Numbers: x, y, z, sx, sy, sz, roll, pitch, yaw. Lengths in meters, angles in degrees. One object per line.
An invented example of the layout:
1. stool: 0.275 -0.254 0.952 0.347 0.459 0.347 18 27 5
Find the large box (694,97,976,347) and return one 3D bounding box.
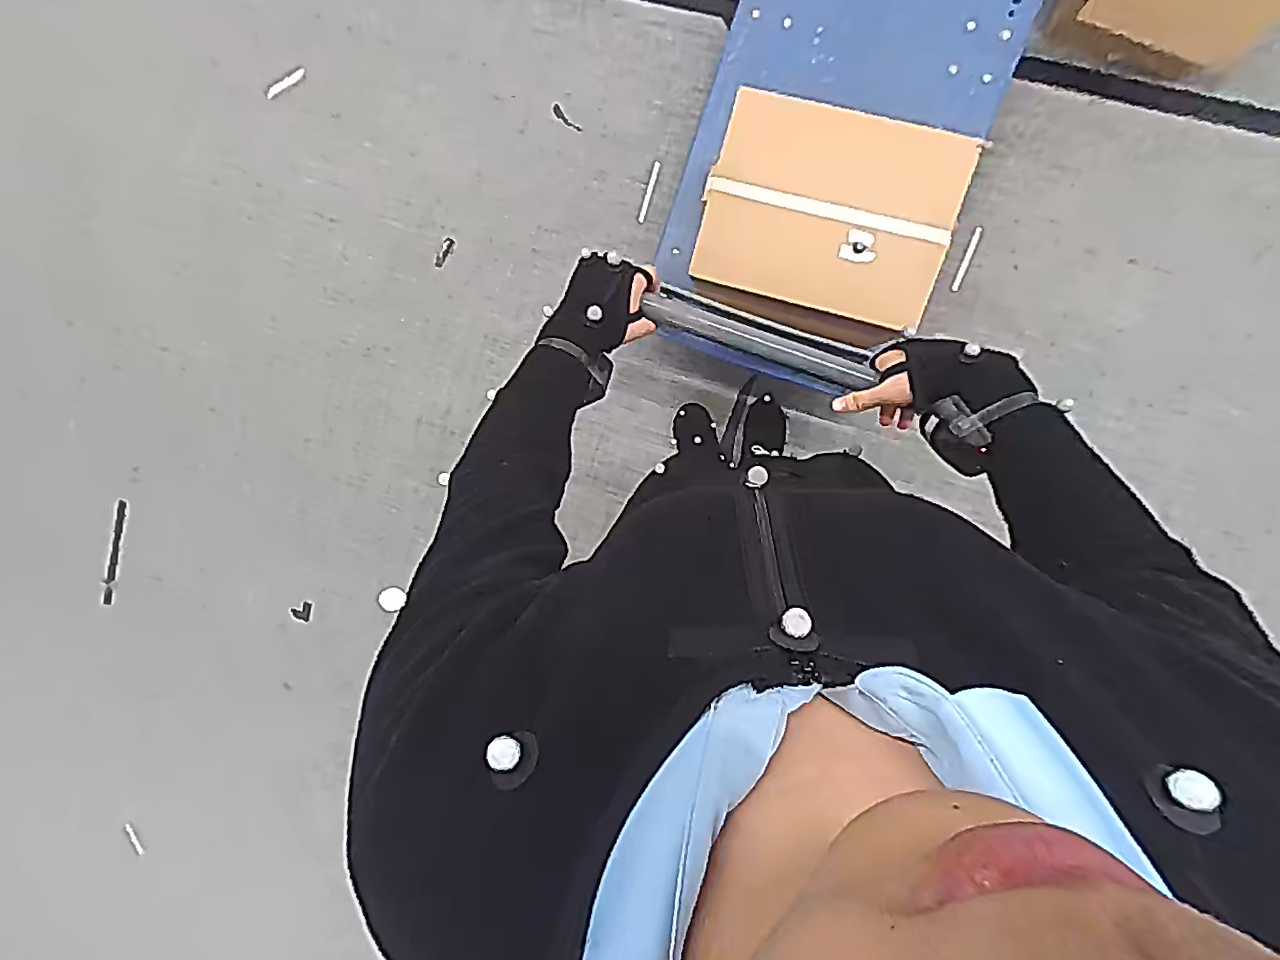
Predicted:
1. large box: 0.340 -0.475 1.068 0.408 0.320 0.320 17 101 5
